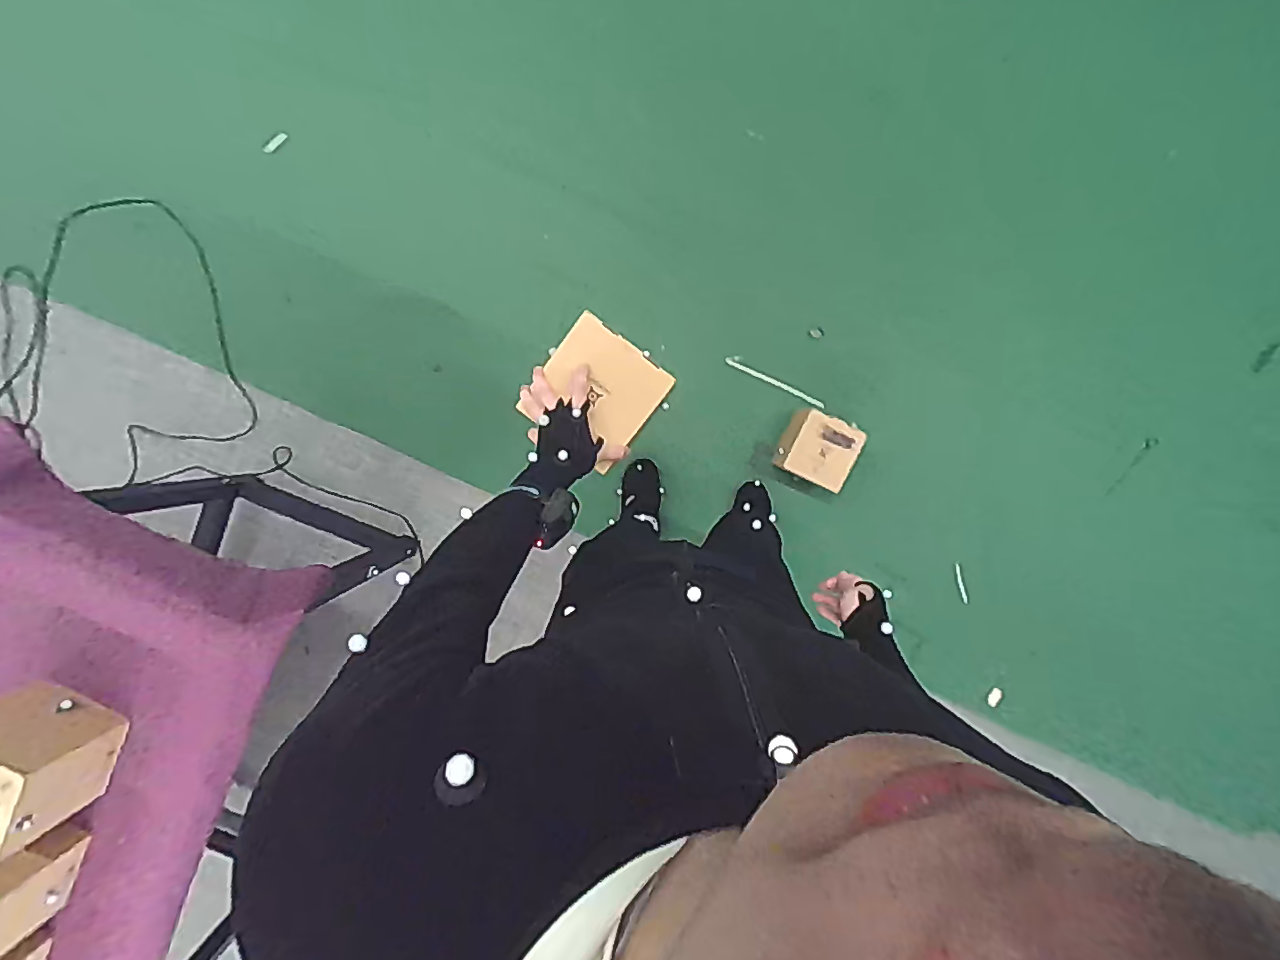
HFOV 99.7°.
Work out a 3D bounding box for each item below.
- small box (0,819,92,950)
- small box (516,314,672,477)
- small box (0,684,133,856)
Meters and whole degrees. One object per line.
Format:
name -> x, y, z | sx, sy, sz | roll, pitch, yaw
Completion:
small box -> -1.118, 0.691, 0.920 | 0.179, 0.176, 0.168 | 26, 96, -1
small box -> -0.059, -0.127, 0.850 | 0.168, 0.176, 0.179 | 37, 98, -1
small box -> -1.019, 0.468, 0.895 | 0.179, 0.176, 0.168 | 26, 97, 1
